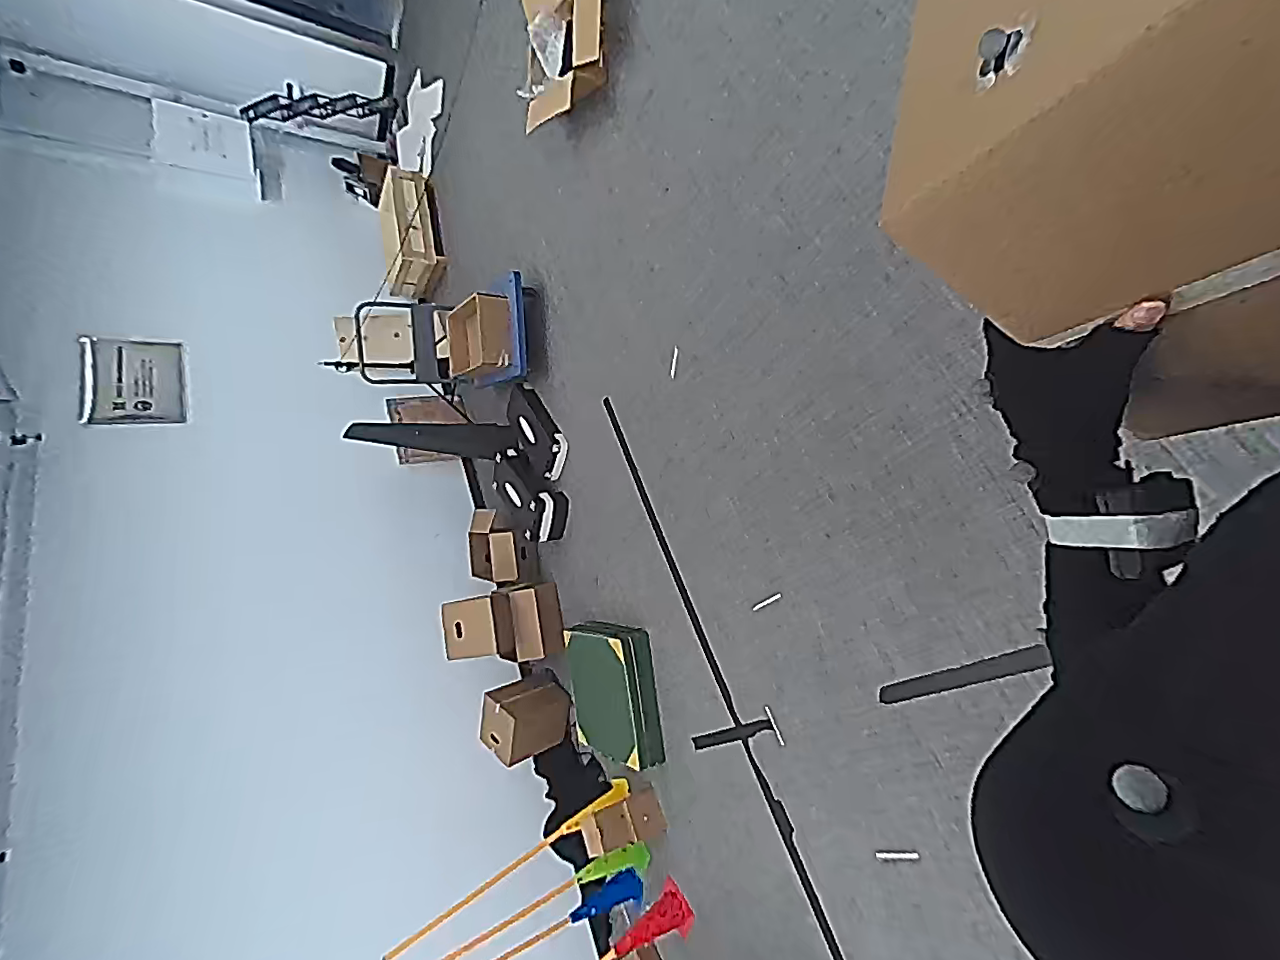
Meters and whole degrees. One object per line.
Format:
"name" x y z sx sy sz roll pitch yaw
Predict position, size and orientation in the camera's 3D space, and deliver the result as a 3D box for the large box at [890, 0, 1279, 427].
"large box" 0.406 -0.273 0.264 0.408 0.320 0.320 -22 48 60
